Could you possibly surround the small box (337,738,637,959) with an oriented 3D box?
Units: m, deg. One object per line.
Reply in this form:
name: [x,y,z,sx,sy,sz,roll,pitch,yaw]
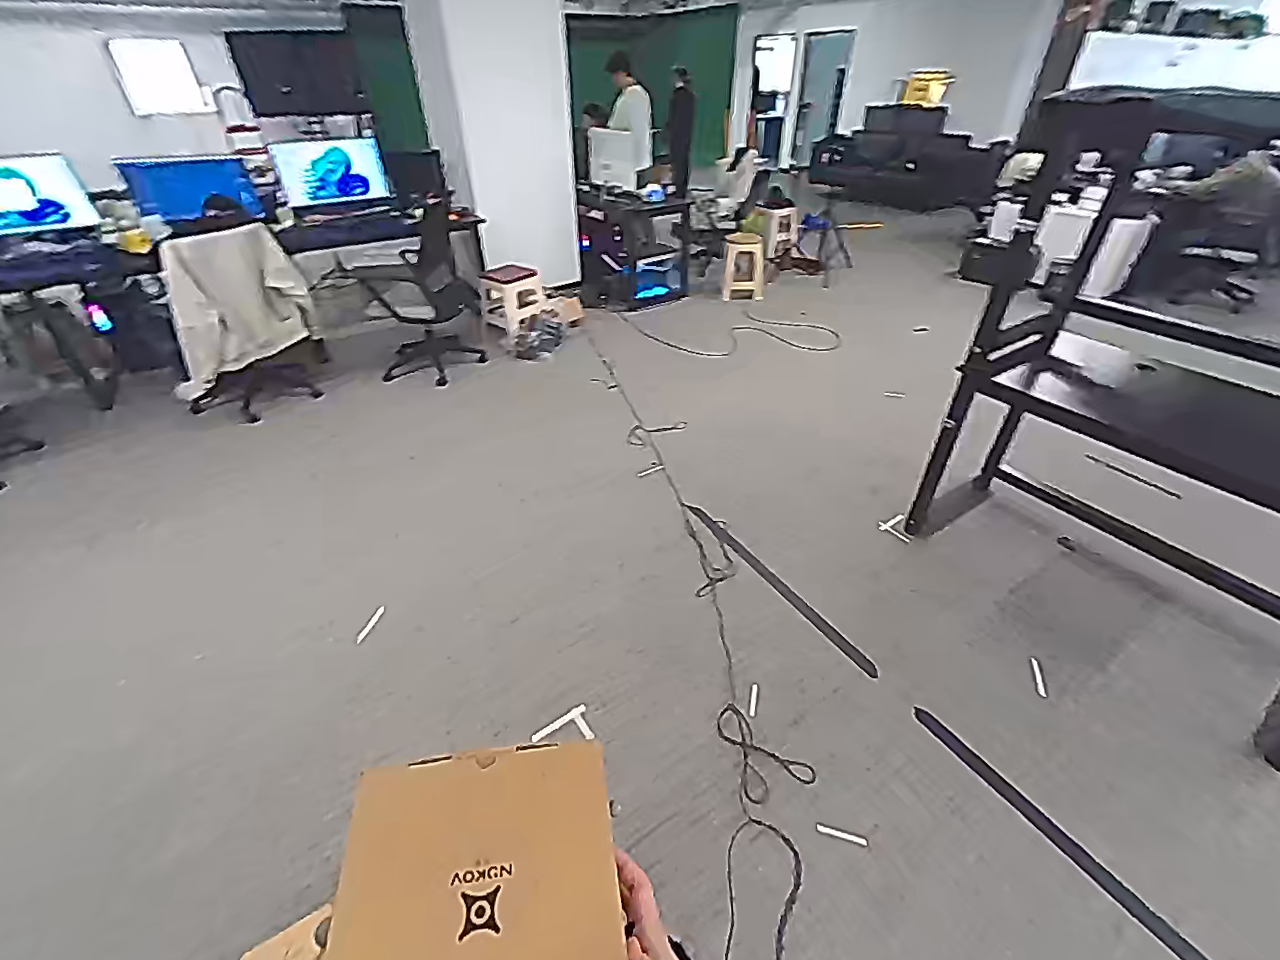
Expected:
small box: [-0.094,0.309,0.371,0.168,0.176,0.179,-2,40,-12]
